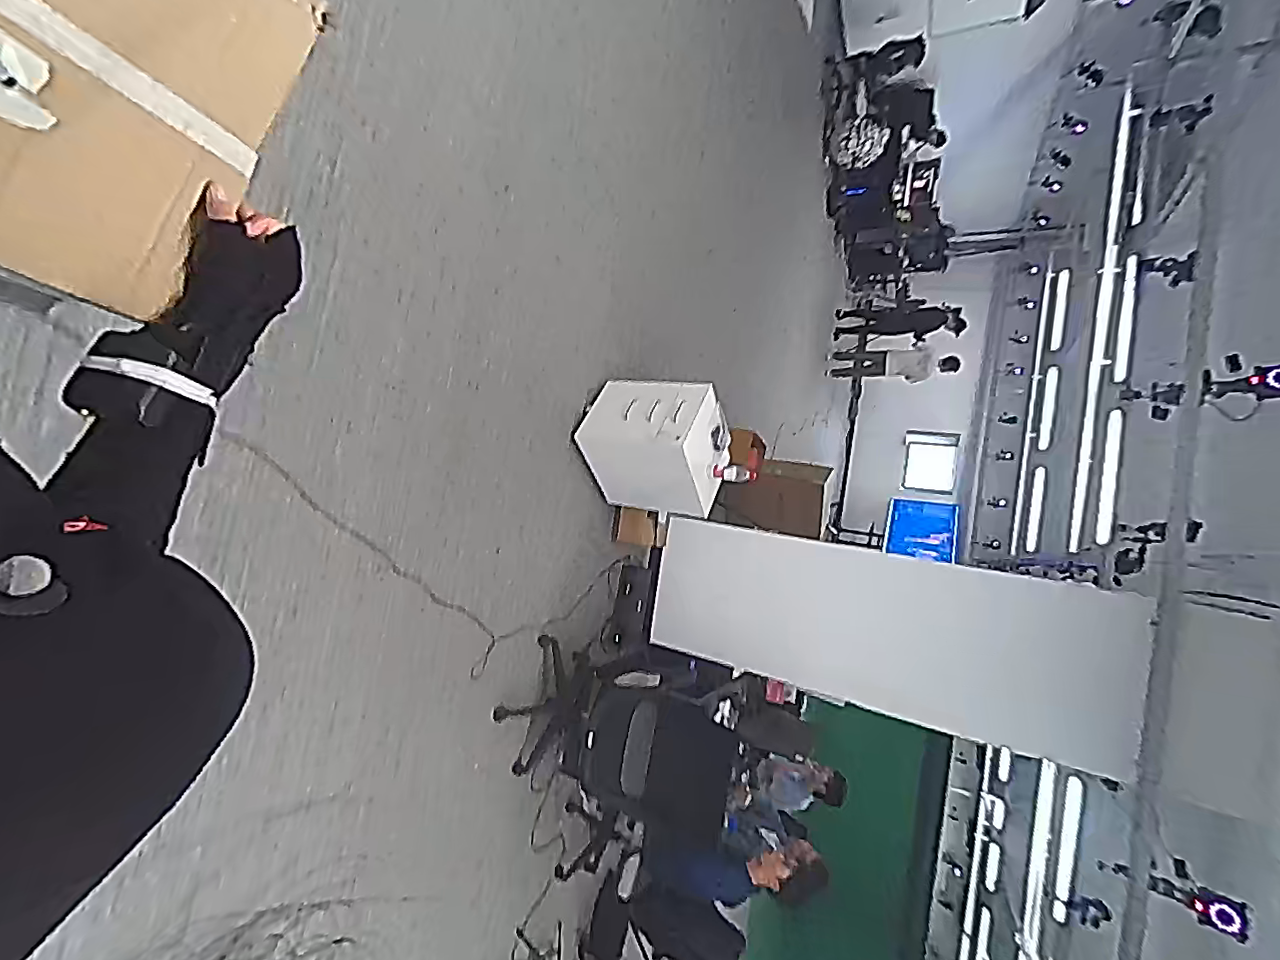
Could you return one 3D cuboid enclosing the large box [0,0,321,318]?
[{"bbox_3d":[-0.545,-0.364,0.371,0.408,0.320,0.320,28,84,-60],"label":"large box"}]
